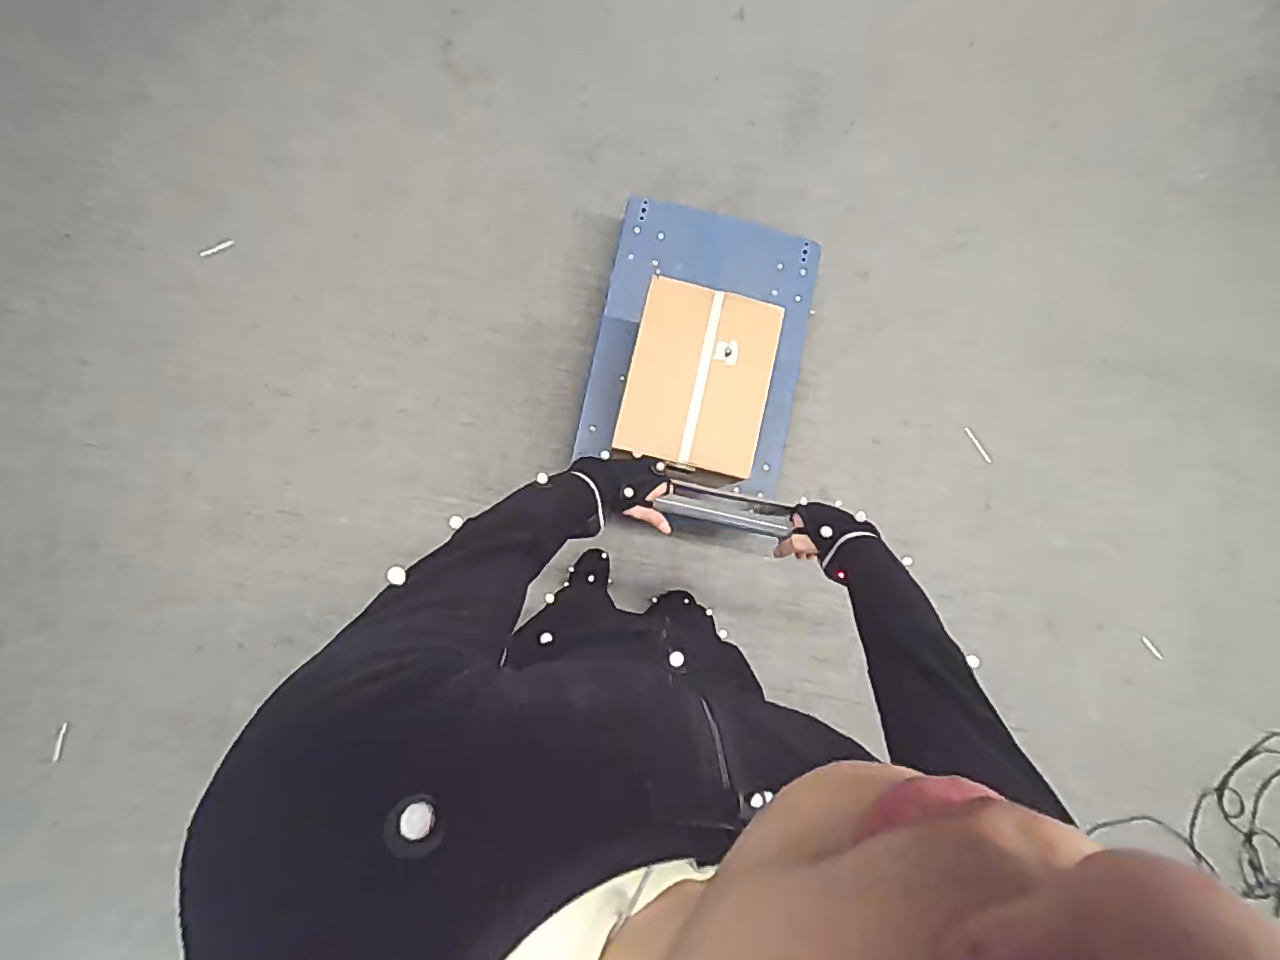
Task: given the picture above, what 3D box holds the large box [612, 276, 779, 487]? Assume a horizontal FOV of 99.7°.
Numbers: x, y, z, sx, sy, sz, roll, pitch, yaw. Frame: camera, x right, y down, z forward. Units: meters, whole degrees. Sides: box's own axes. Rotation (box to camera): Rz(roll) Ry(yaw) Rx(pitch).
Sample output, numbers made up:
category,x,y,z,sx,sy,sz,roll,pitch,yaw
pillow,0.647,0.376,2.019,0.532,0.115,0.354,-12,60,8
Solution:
category,x,y,z,sx,sy,sz,roll,pitch,yaw
large box,0.117,-0.217,1.339,0.320,0.320,0.408,13,83,-5
